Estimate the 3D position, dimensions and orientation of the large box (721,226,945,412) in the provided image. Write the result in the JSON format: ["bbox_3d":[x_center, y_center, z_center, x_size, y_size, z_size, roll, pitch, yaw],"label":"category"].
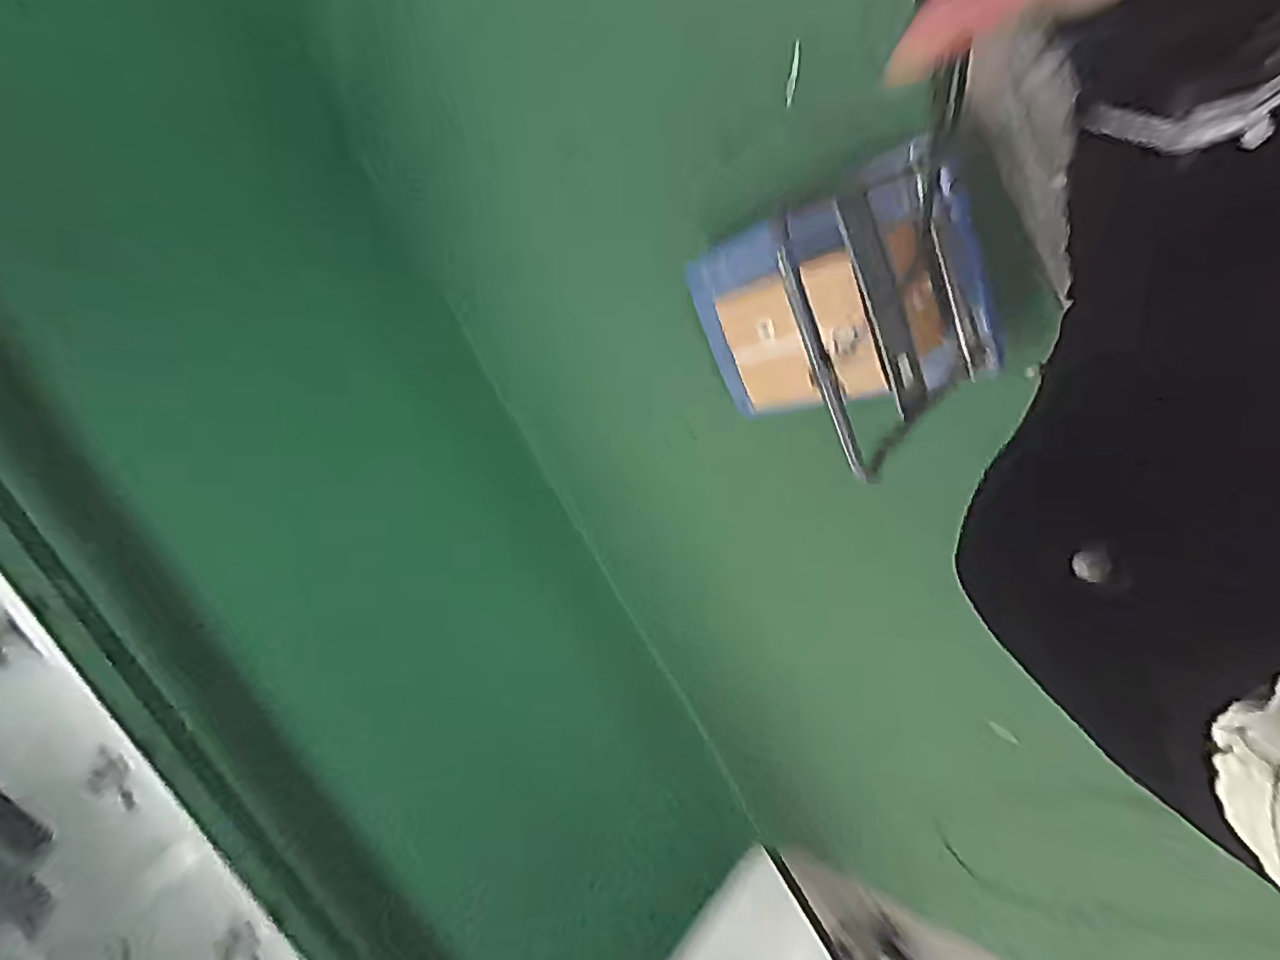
[{"bbox_3d":[0.499,-0.404,1.413,0.408,0.320,0.320,-2,117,54],"label":"large box"}]
